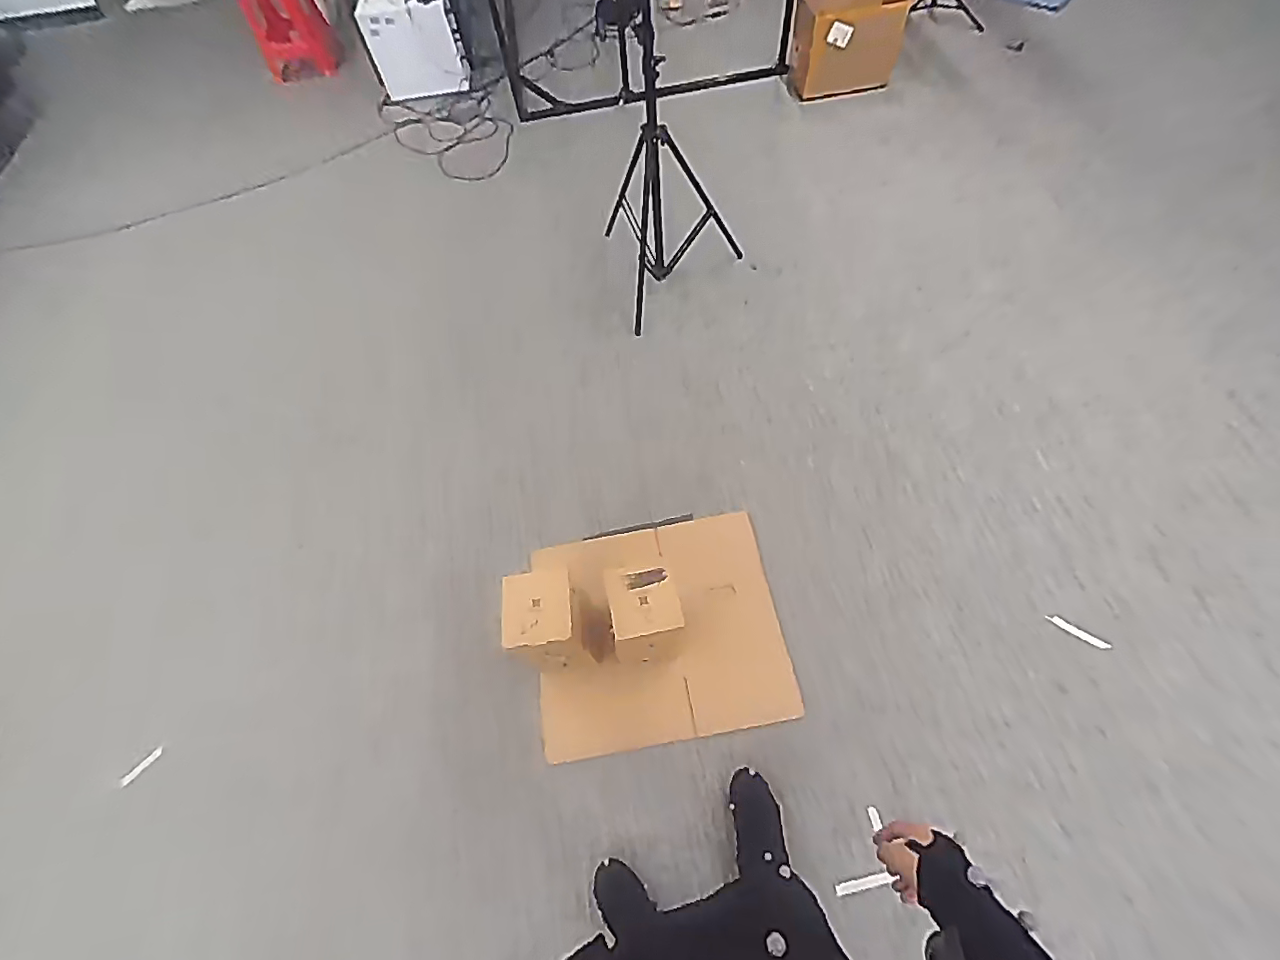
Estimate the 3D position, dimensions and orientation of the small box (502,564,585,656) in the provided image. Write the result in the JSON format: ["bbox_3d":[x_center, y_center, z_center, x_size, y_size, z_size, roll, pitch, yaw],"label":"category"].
[{"bbox_3d":[-0.235,0.326,1.340,0.168,0.176,0.179,-8,62,2],"label":"small box"}]

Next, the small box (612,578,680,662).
[{"bbox_3d":[0.018,0.384,1.474,0.168,0.176,0.179,-7,62,1],"label":"small box"}]

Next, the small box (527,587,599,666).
[{"bbox_3d":[-0.210,0.408,1.482,0.168,0.176,0.179,-9,62,1],"label":"small box"}]
